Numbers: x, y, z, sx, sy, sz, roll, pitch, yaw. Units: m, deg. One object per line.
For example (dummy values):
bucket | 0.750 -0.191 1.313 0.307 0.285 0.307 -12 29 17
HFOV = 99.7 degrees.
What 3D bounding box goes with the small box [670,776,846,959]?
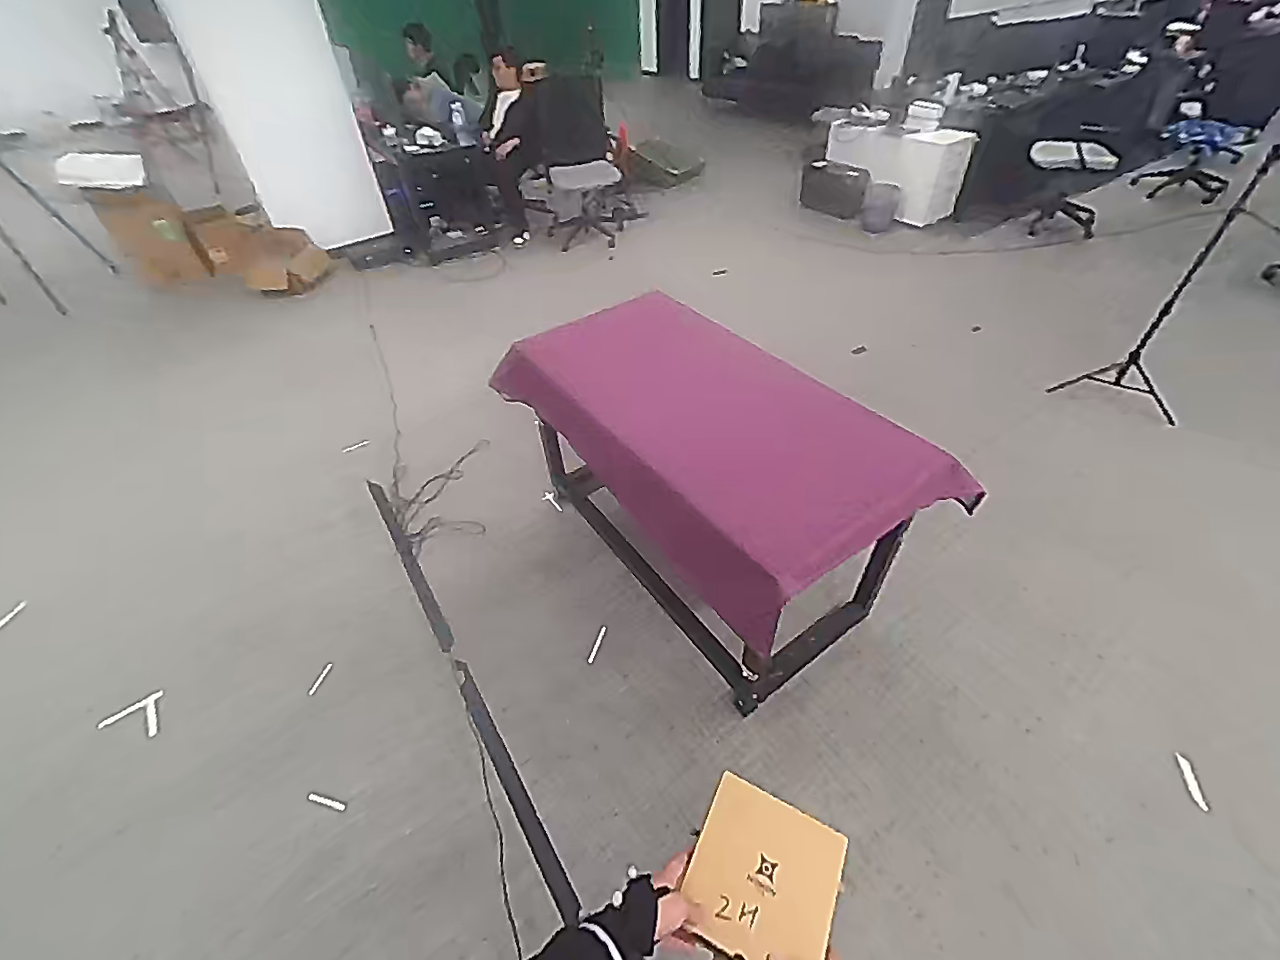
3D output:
small box | 0.144 0.527 0.702 0.168 0.176 0.179 21 54 18
